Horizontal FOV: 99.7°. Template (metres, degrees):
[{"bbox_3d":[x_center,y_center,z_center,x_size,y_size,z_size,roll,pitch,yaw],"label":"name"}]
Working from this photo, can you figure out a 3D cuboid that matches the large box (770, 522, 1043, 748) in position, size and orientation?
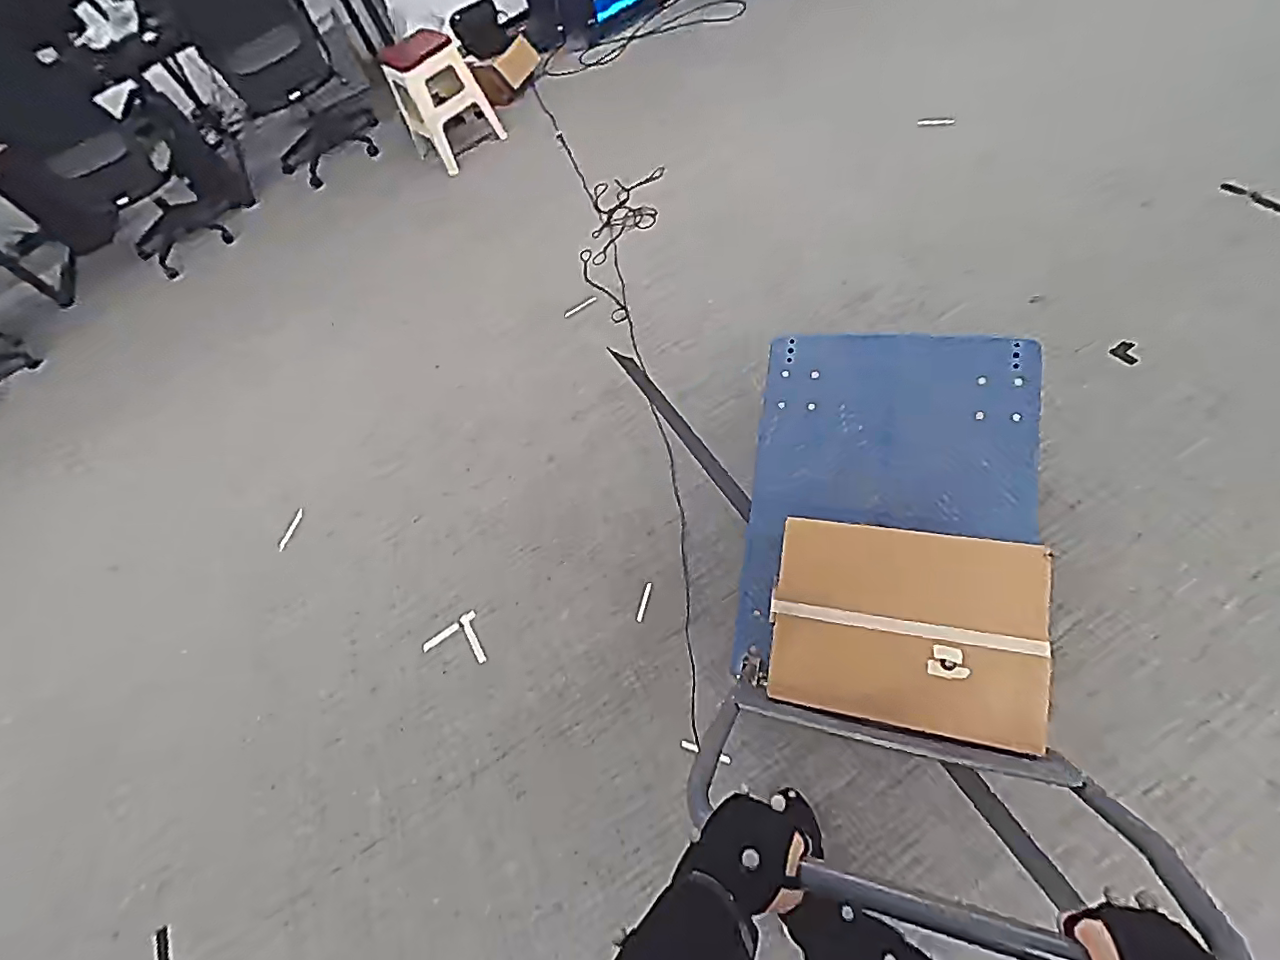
[{"bbox_3d":[0.473,0.270,1.035,0.408,0.320,0.320,6,81,18],"label":"large box"}]
